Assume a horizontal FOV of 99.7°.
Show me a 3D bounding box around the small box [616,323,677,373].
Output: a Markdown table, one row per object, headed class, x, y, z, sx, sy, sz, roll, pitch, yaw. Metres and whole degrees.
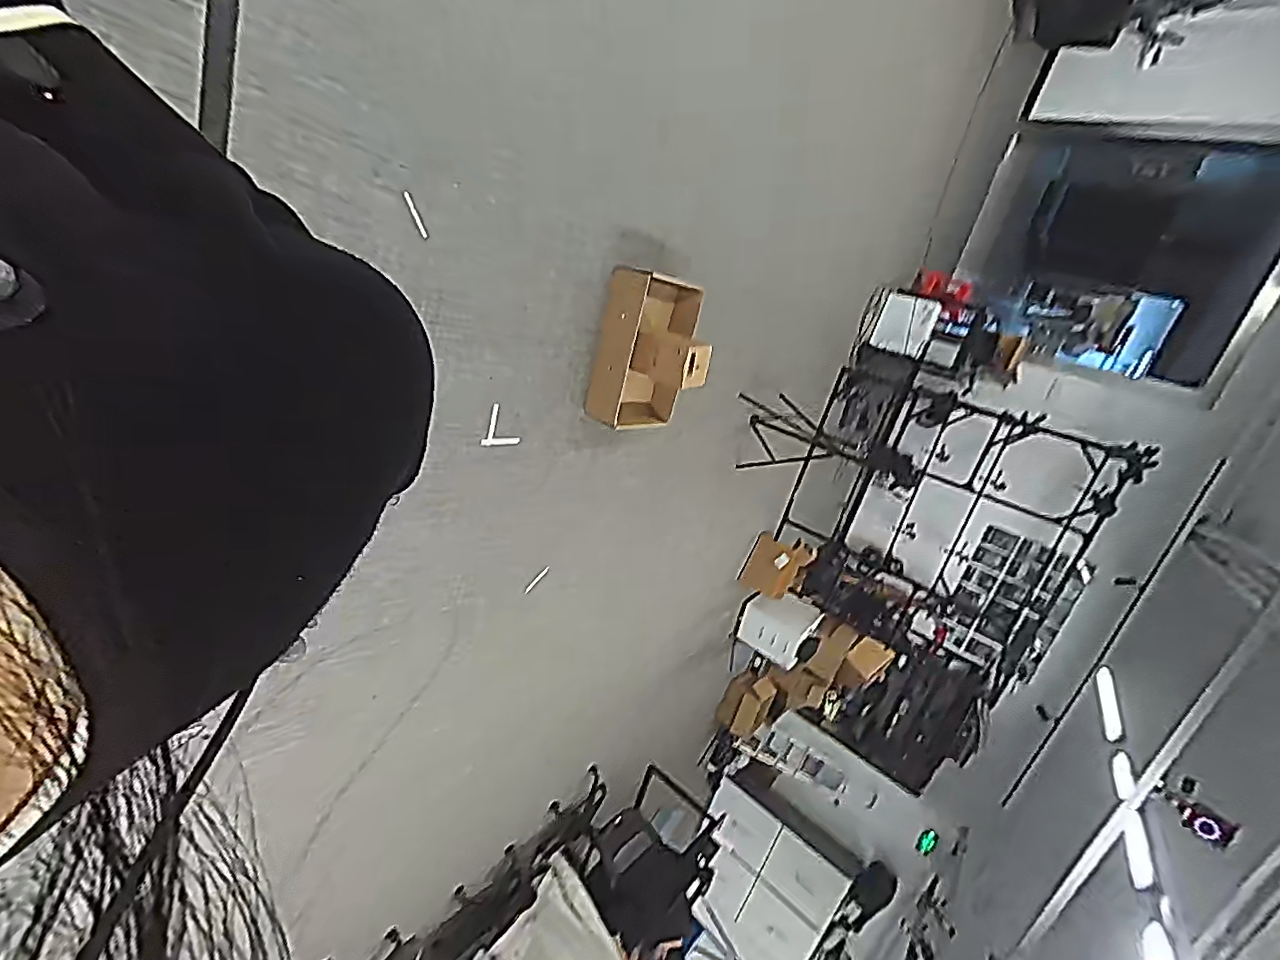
| class | x | y | z | sx | sy | sz | roll | pitch | yaw |
| --- | --- | --- | --- | --- | --- | --- | --- | --- | --- |
| small box | 0.025 | -0.555 | 2.255 | 0.179 | 0.176 | 0.168 | -18 | 126 | -48 |
